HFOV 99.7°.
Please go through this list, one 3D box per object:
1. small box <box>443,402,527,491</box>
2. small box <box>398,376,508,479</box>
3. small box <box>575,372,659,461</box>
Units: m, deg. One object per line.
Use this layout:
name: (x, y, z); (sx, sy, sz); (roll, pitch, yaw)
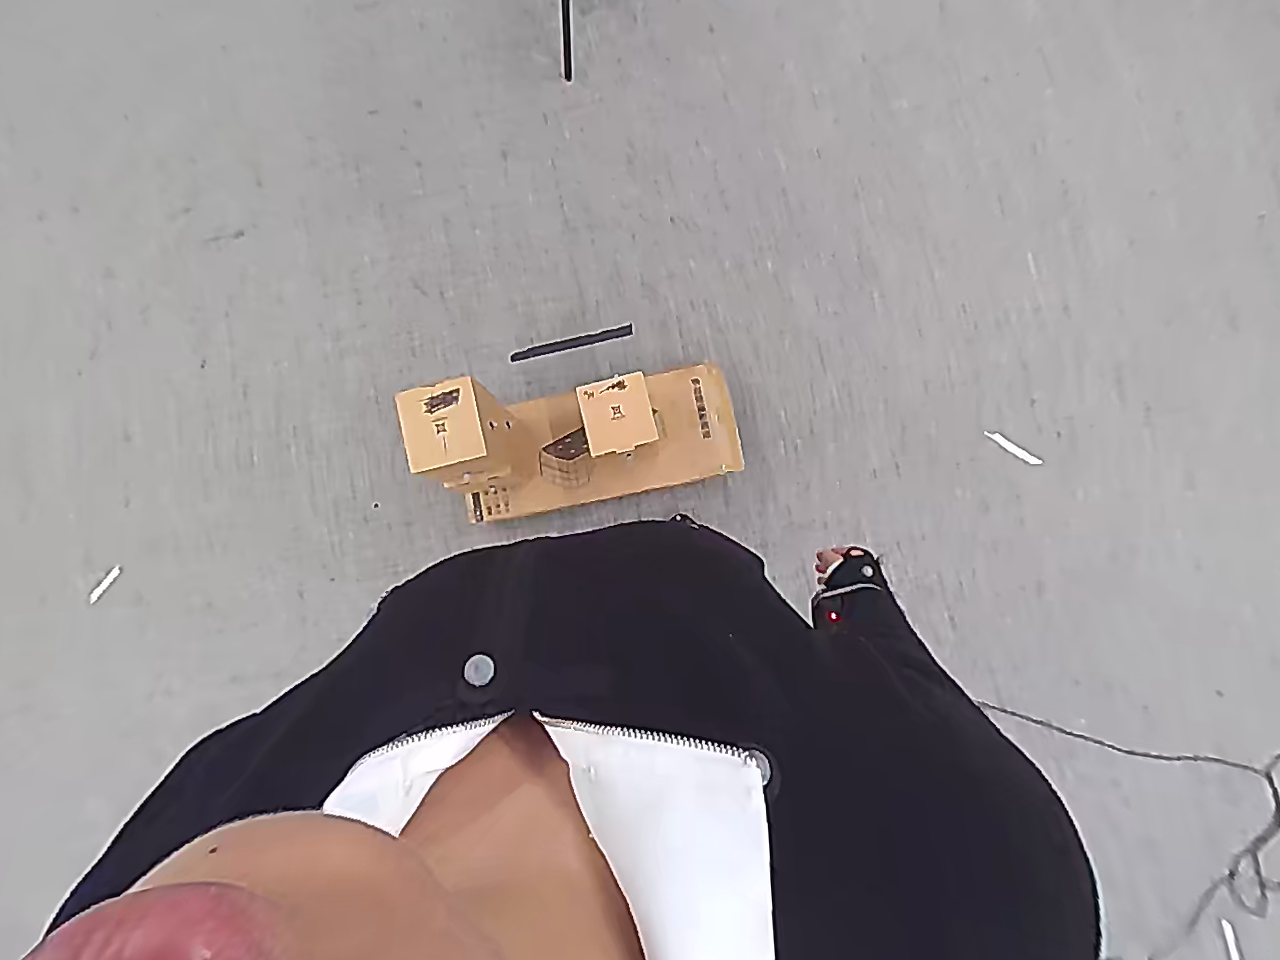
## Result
small box: (-0.394, -0.078, 1.356); (0.168, 0.176, 0.179); (-12, 84, 1)
small box: (-0.406, -0.109, 1.195); (0.168, 0.176, 0.179); (-13, 84, 1)
small box: (-0.051, -0.149, 1.348); (0.168, 0.176, 0.179); (-13, 85, 3)
